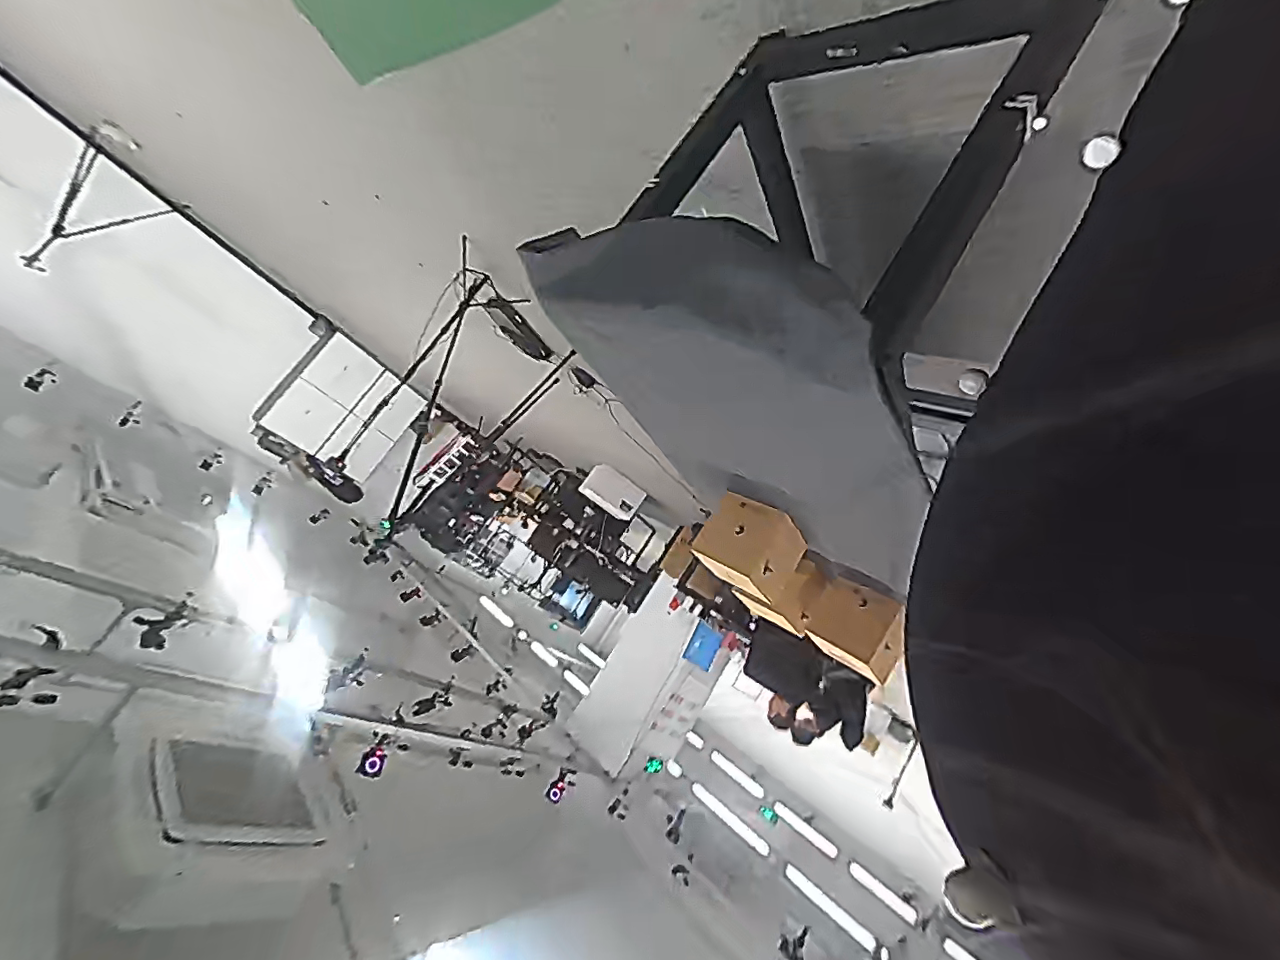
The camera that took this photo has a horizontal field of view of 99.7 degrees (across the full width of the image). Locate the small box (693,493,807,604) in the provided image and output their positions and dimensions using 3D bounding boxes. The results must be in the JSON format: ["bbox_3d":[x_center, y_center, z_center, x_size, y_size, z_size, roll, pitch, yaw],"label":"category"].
[{"bbox_3d":[0.259,0.153,1.251,0.168,0.176,0.179,23,165,42],"label":"small box"}]

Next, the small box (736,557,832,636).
[{"bbox_3d":[0.393,0.290,1.465,0.168,0.176,0.179,22,165,42],"label":"small box"}]
